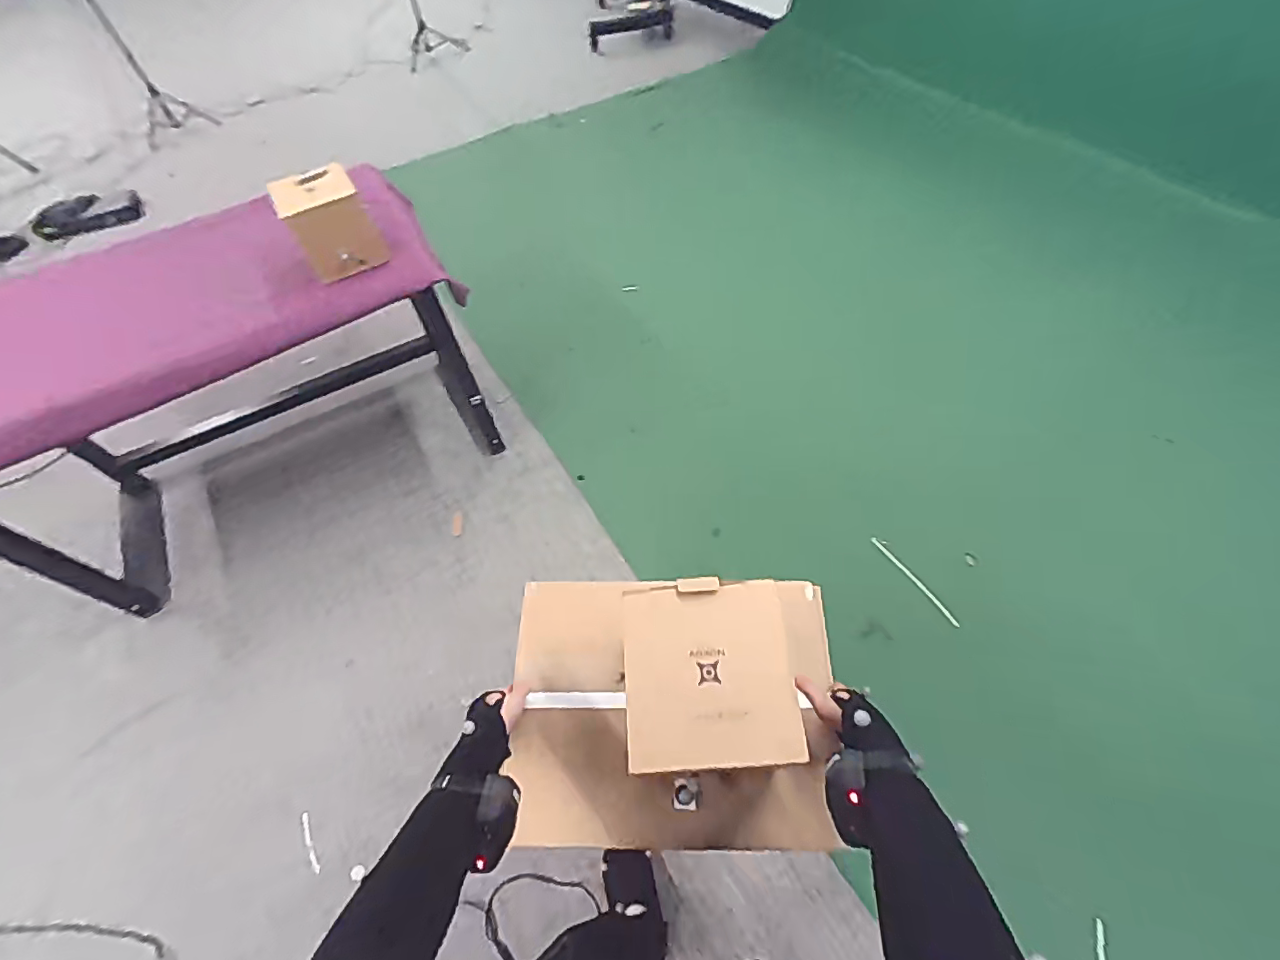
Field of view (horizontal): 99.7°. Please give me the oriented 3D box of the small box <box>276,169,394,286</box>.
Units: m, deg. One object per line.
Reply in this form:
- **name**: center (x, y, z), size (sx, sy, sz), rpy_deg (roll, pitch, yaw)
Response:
- **small box**: center (-0.709, -0.588, 1.267), size (0.168, 0.176, 0.179), rpy_deg (-28, 57, -14)

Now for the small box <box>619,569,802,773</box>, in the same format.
- **small box**: center (0.064, 0.216, 0.599), size (0.168, 0.176, 0.179), rpy_deg (-5, 58, 0)
